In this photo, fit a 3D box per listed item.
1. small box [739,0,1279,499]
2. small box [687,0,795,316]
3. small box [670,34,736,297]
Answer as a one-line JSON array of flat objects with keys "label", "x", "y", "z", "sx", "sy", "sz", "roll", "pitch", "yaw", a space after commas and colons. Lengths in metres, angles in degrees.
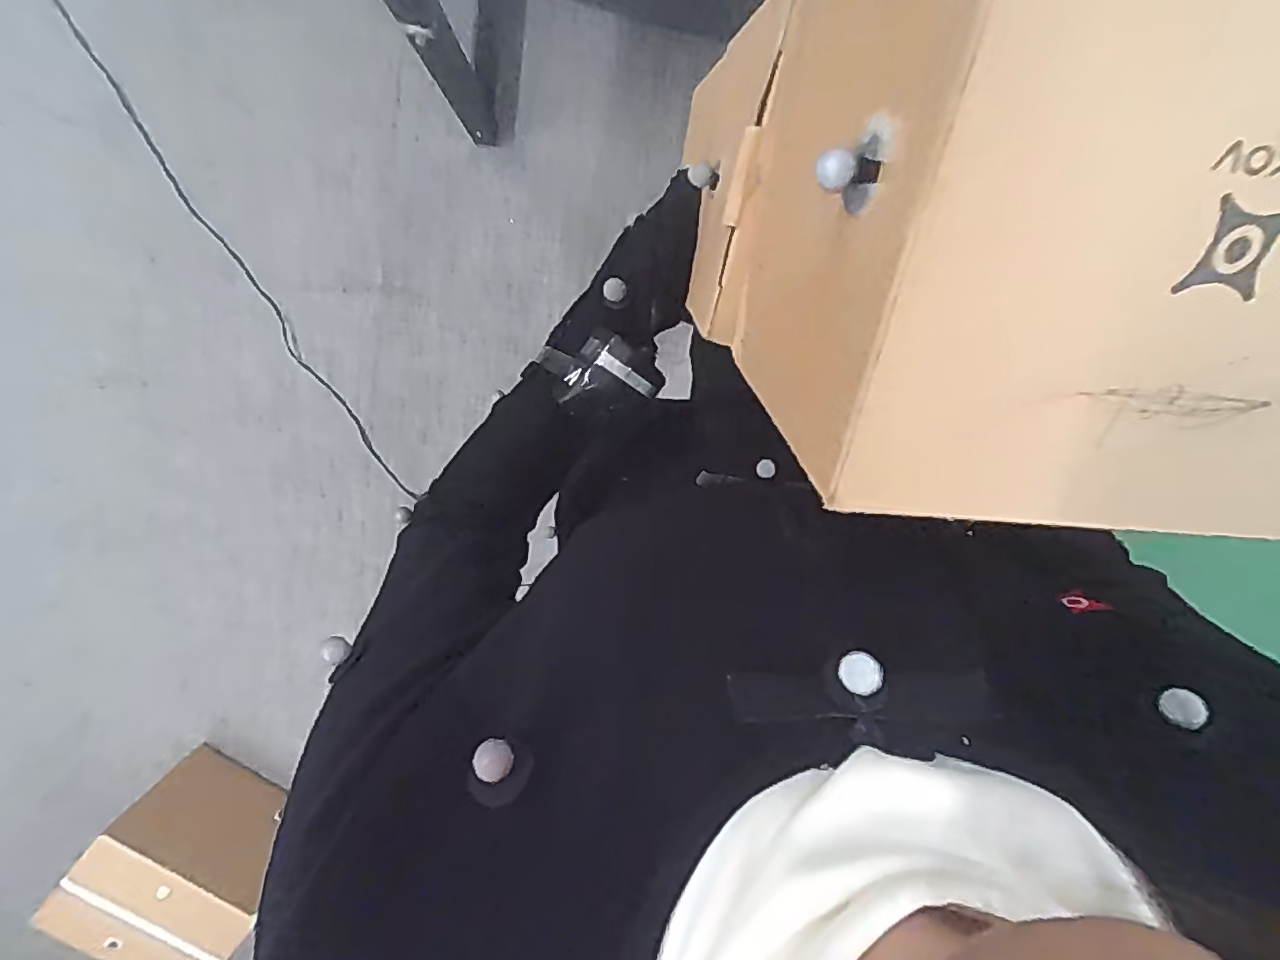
[{"label": "small box", "x": 0.143, "y": -0.114, "z": 0.201, "sx": 0.168, "sy": 0.176, "sz": 0.179, "roll": 5, "pitch": 119, "yaw": -4}, {"label": "small box", "x": 0.133, "y": -0.191, "z": 0.348, "sx": 0.179, "sy": 0.176, "sz": 0.168, "roll": 6, "pitch": 117, "yaw": -6}, {"label": "small box", "x": 0.125, "y": -0.261, "z": 0.493, "sx": 0.168, "sy": 0.176, "sz": 0.179, "roll": 7, "pitch": 117, "yaw": -7}]
